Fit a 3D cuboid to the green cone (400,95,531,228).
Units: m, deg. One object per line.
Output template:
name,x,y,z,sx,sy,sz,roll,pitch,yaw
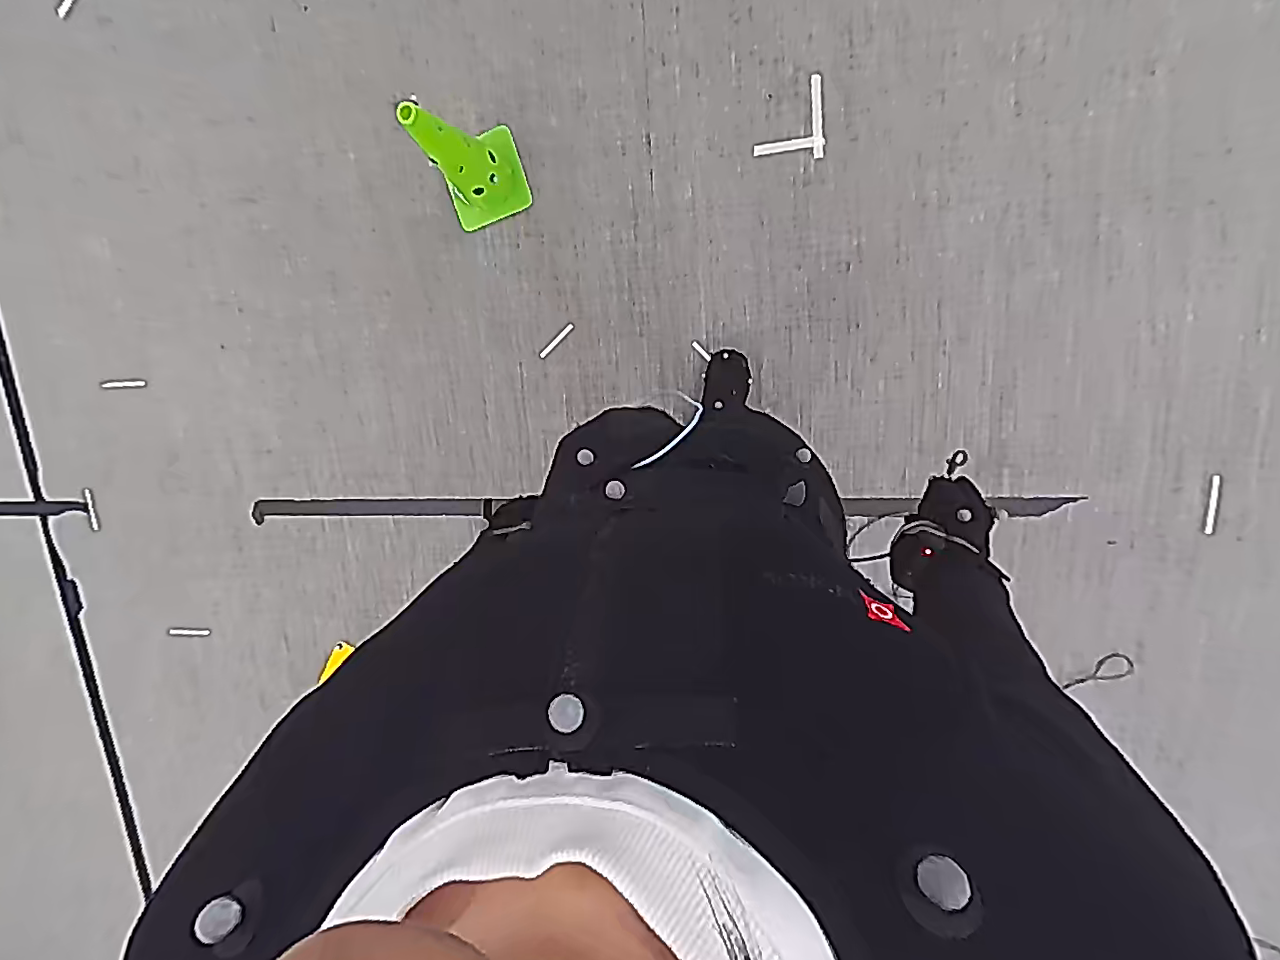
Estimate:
green cone,-0.411,-0.725,1.184,0.202,0.368,0.200,-17,98,10
